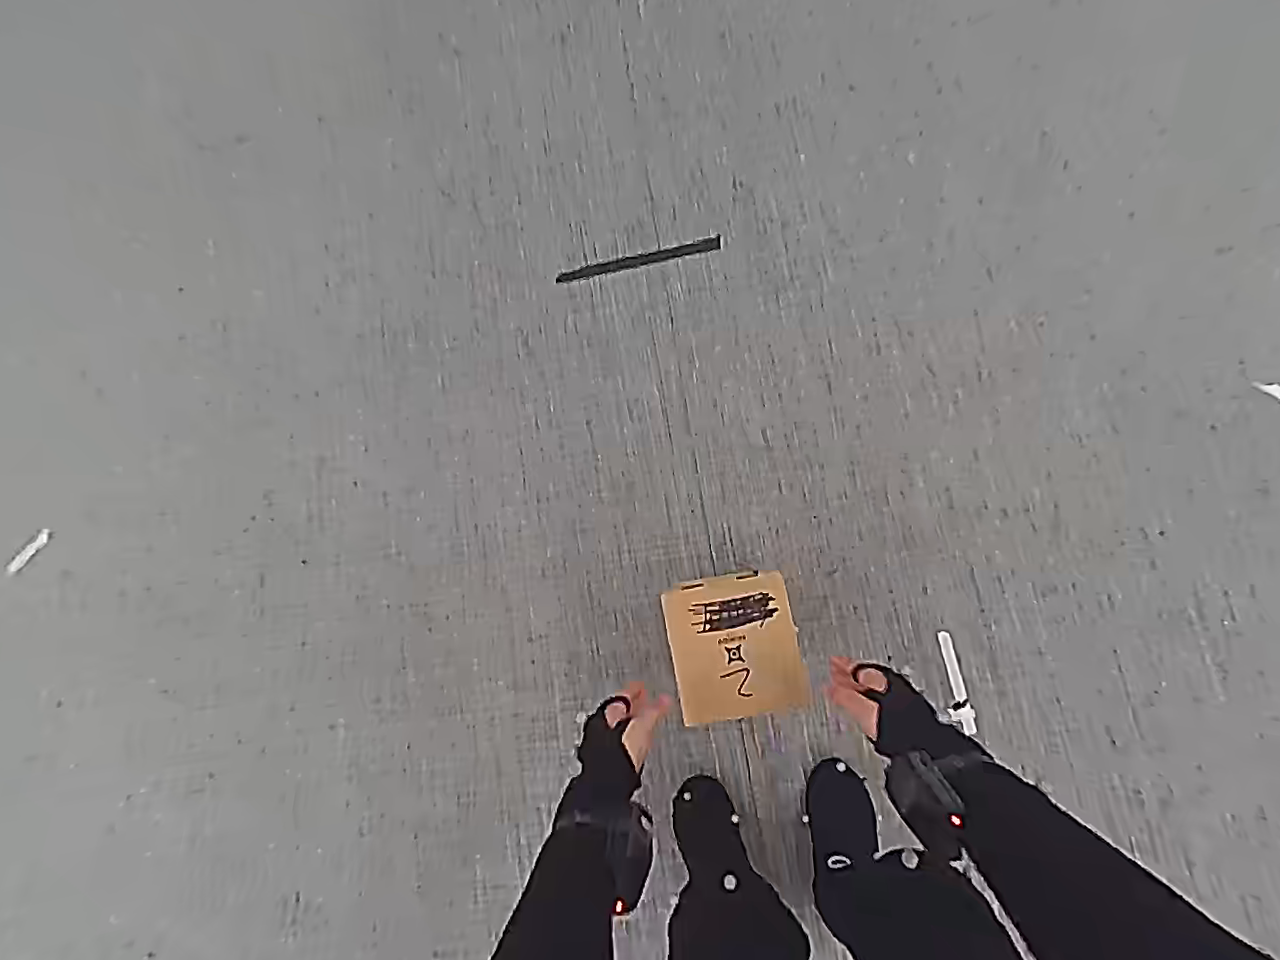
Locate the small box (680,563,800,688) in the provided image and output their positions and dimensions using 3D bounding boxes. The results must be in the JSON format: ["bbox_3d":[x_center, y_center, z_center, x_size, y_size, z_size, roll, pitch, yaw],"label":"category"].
[{"bbox_3d":[0.164,0.245,0.938,0.168,0.176,0.179,-11,79,5],"label":"small box"}]
